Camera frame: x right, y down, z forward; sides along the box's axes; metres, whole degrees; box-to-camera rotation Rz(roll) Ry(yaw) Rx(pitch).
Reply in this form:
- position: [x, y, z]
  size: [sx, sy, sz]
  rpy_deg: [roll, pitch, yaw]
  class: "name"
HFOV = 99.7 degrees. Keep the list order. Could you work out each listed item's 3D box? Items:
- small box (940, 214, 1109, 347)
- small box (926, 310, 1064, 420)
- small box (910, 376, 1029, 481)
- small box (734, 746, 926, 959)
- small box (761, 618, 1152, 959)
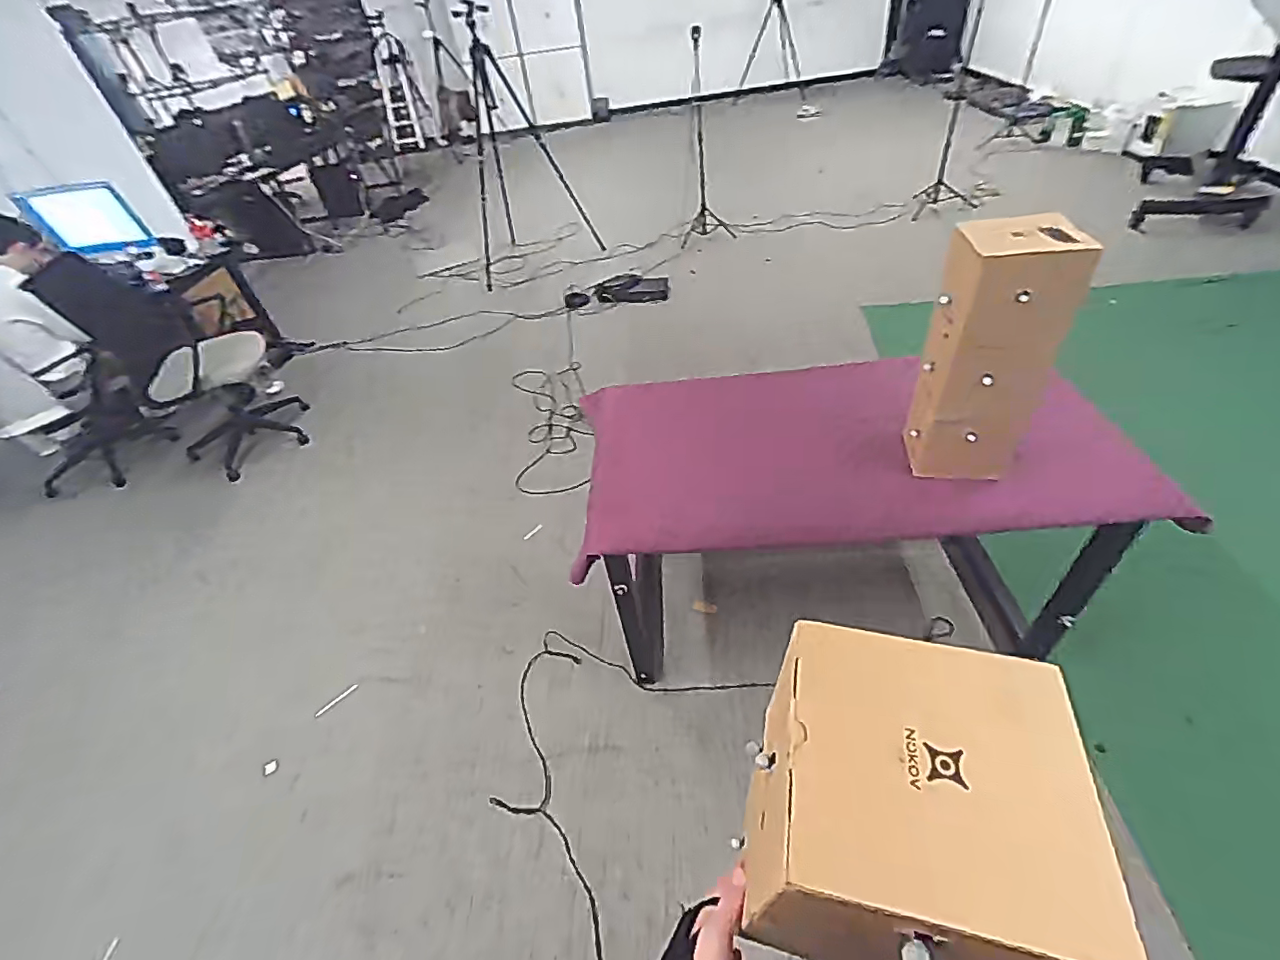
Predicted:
- position: [0.666, -0.352, 0.963]
  size: [0.179, 0.176, 0.168]
  rpy_deg: [0, 44, 11]
  class: "small box"
- position: [0.685, -0.231, 1.073]
  size: [0.179, 0.176, 0.168]
  rpy_deg: [0, 44, 12]
  class: "small box"
- position: [0.706, -0.114, 1.185]
  size: [0.179, 0.176, 0.168]
  rpy_deg: [4, 45, 14]
  class: "small box"
- position: [0.212, 0.442, 0.632]
  size: [0.179, 0.176, 0.168]
  rpy_deg: [8, 47, 13]
  class: "small box"
- position: [0.190, 0.226, 0.388]
  size: [0.179, 0.176, 0.168]
  rpy_deg: [7, 48, 12]
  class: "small box"
